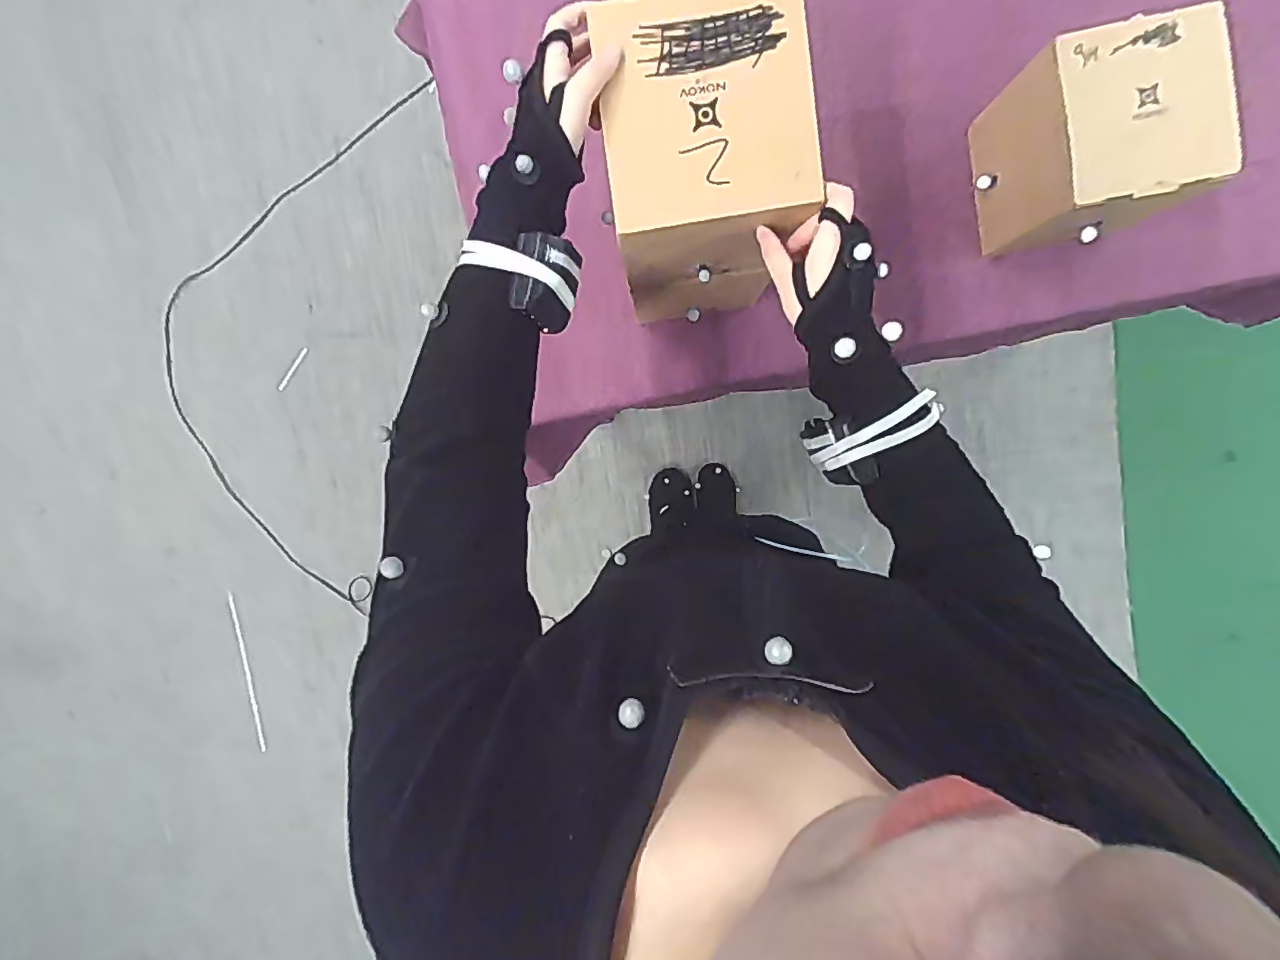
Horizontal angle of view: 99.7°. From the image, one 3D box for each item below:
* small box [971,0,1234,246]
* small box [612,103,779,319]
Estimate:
[{"bbox_3d":[0.521,-0.391,0.632,0.168,0.176,0.179,-9,95,3],"label":"small box"},{"bbox_3d":[0.062,-0.311,0.662,0.168,0.176,0.179,-8,95,3],"label":"small box"}]
